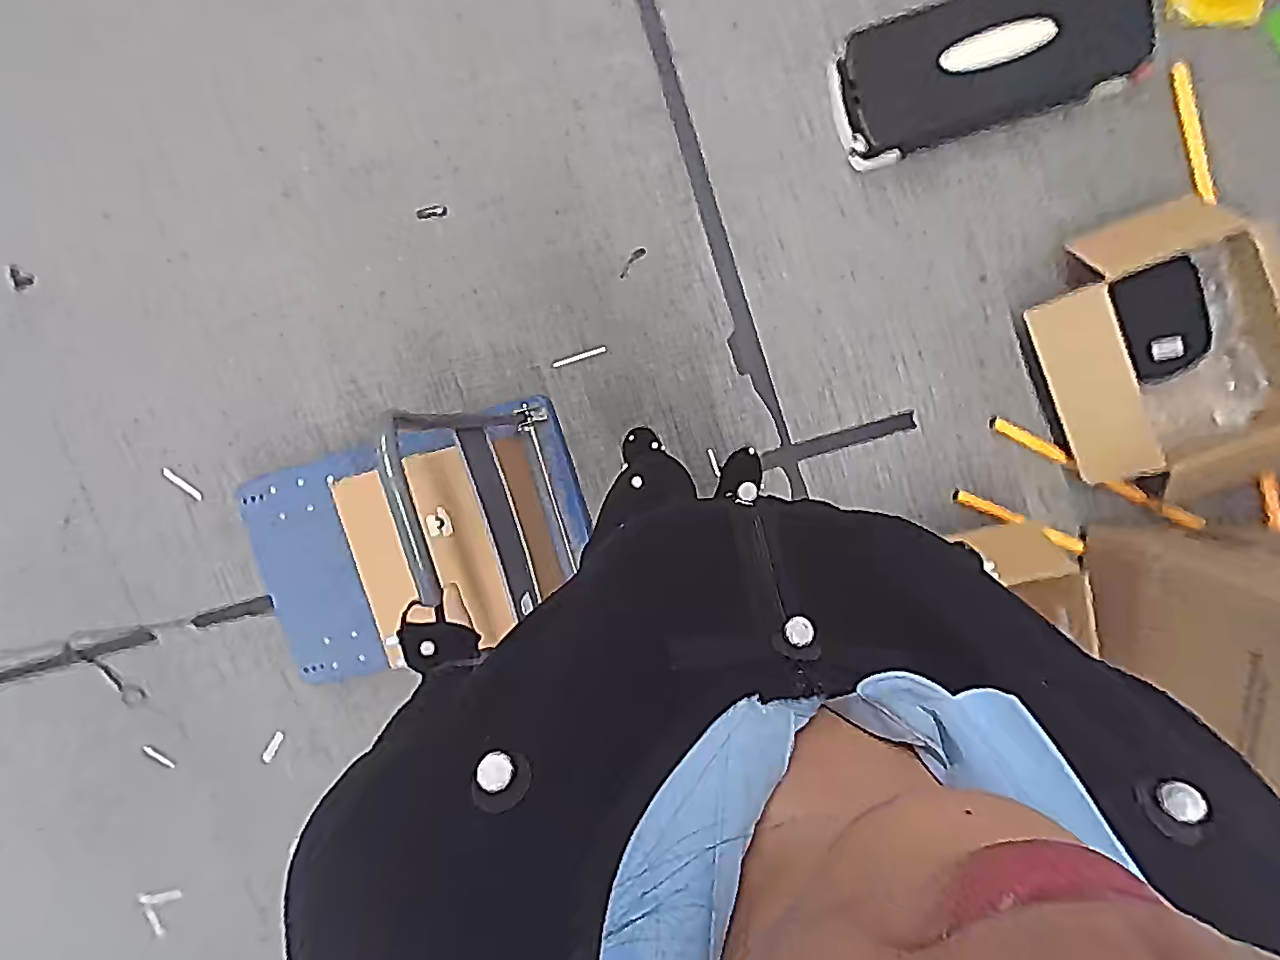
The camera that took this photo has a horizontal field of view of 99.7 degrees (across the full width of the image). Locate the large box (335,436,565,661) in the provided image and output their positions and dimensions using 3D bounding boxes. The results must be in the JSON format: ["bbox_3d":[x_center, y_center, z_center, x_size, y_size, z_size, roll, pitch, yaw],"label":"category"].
[{"bbox_3d":[-0.401,0.133,1.231,0.320,0.320,0.408,-15,94,6],"label":"large box"}]
